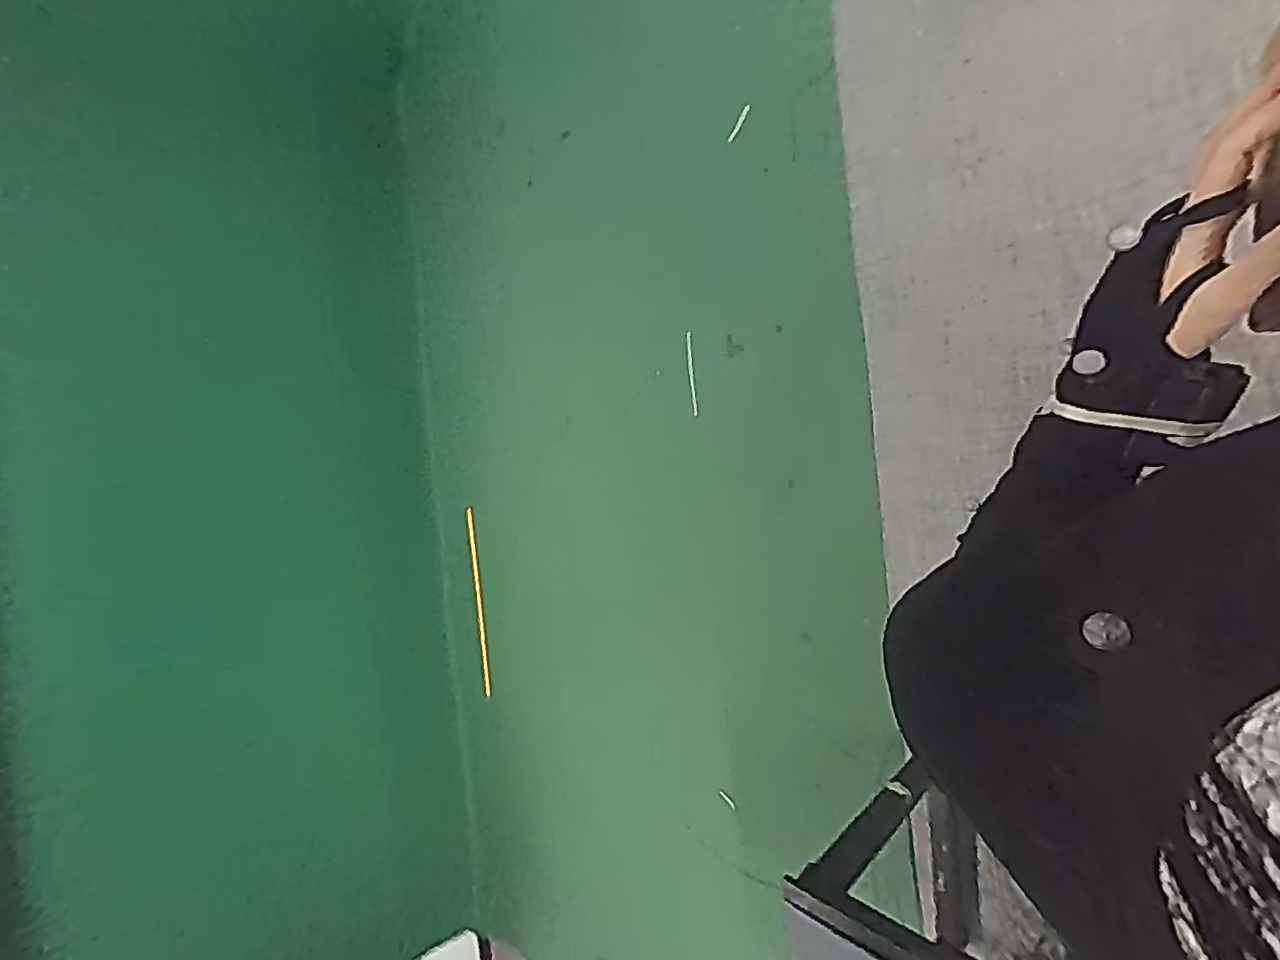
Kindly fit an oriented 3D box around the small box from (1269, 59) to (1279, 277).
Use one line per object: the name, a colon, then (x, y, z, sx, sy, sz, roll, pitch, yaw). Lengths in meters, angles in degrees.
small box: (0.387, -0.185, 0.200, 0.168, 0.176, 0.179, 2, 91, 34)
